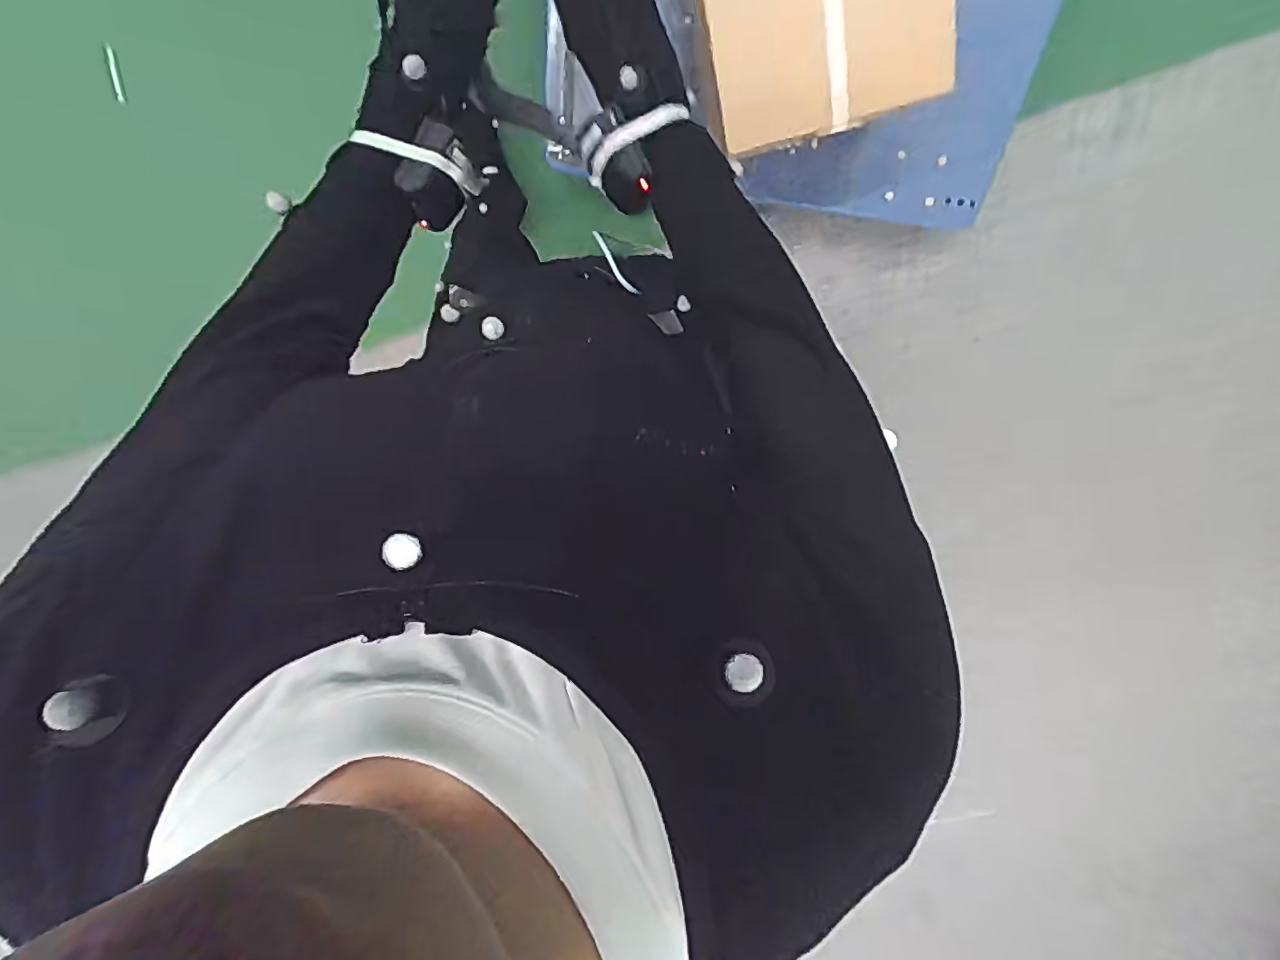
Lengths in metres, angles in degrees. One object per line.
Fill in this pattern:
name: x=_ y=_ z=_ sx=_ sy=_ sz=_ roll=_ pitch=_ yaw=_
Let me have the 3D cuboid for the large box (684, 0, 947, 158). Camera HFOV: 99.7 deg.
large box: x=0.226 y=-0.757 z=0.806 sx=0.320 sy=0.320 sz=0.408 roll=-12 pitch=116 yaw=9
